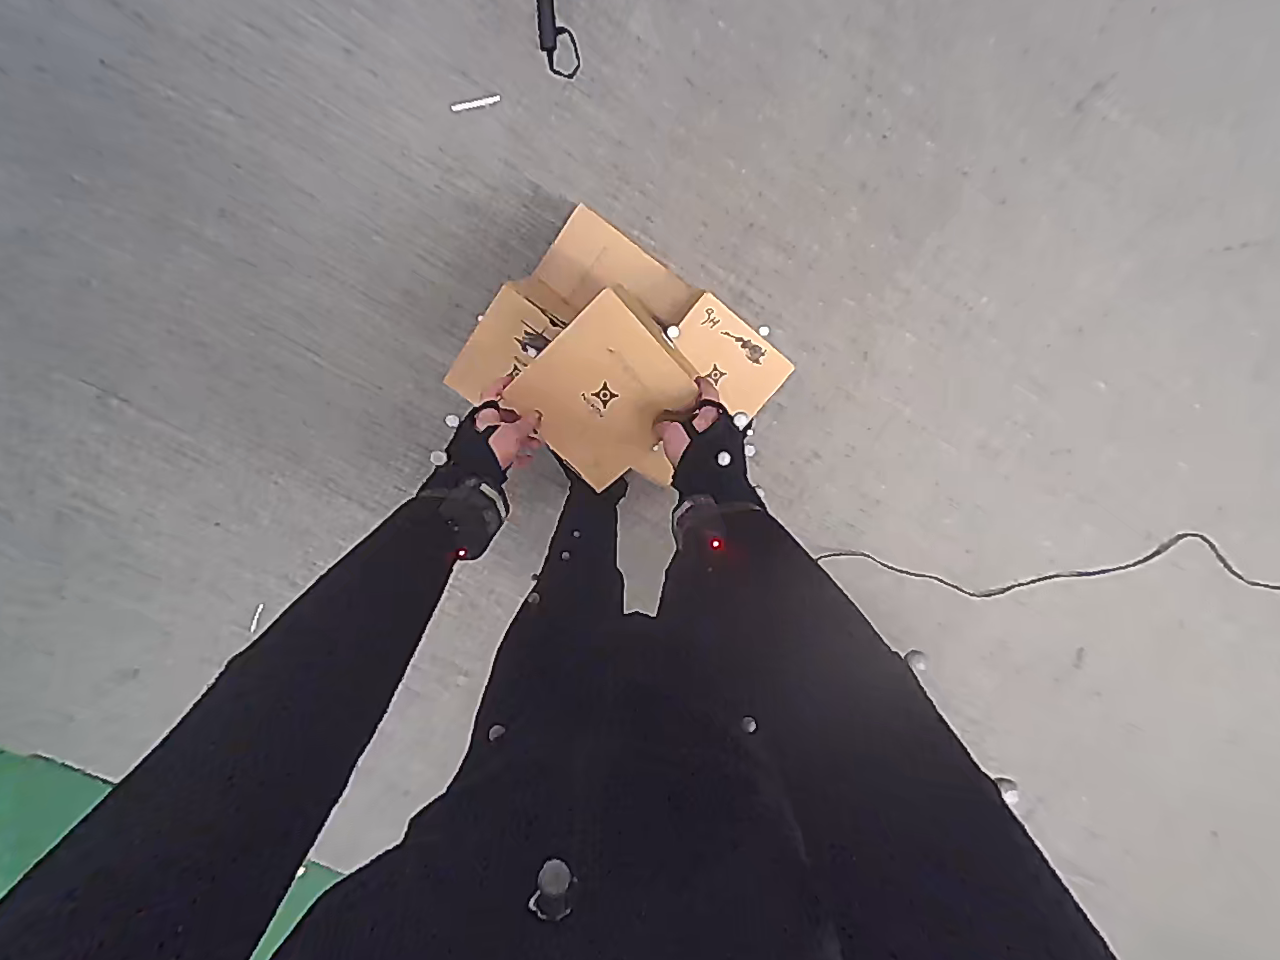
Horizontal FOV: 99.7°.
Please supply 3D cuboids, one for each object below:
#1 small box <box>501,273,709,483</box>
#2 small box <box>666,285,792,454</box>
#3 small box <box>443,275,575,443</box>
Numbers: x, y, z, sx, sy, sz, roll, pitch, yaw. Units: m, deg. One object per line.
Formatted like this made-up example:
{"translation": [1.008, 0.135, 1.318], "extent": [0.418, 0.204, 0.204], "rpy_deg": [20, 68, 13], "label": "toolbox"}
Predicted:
{"translation": [-0.037, -0.131, 0.671], "extent": [0.179, 0.176, 0.168], "rpy_deg": [-41, 105, 14], "label": "small box"}
{"translation": [0.099, -0.173, 0.827], "extent": [0.168, 0.176, 0.179], "rpy_deg": [37, 107, -11], "label": "small box"}
{"translation": [-0.162, -0.193, 0.827], "extent": [0.168, 0.176, 0.179], "rpy_deg": [38, 109, -12], "label": "small box"}
